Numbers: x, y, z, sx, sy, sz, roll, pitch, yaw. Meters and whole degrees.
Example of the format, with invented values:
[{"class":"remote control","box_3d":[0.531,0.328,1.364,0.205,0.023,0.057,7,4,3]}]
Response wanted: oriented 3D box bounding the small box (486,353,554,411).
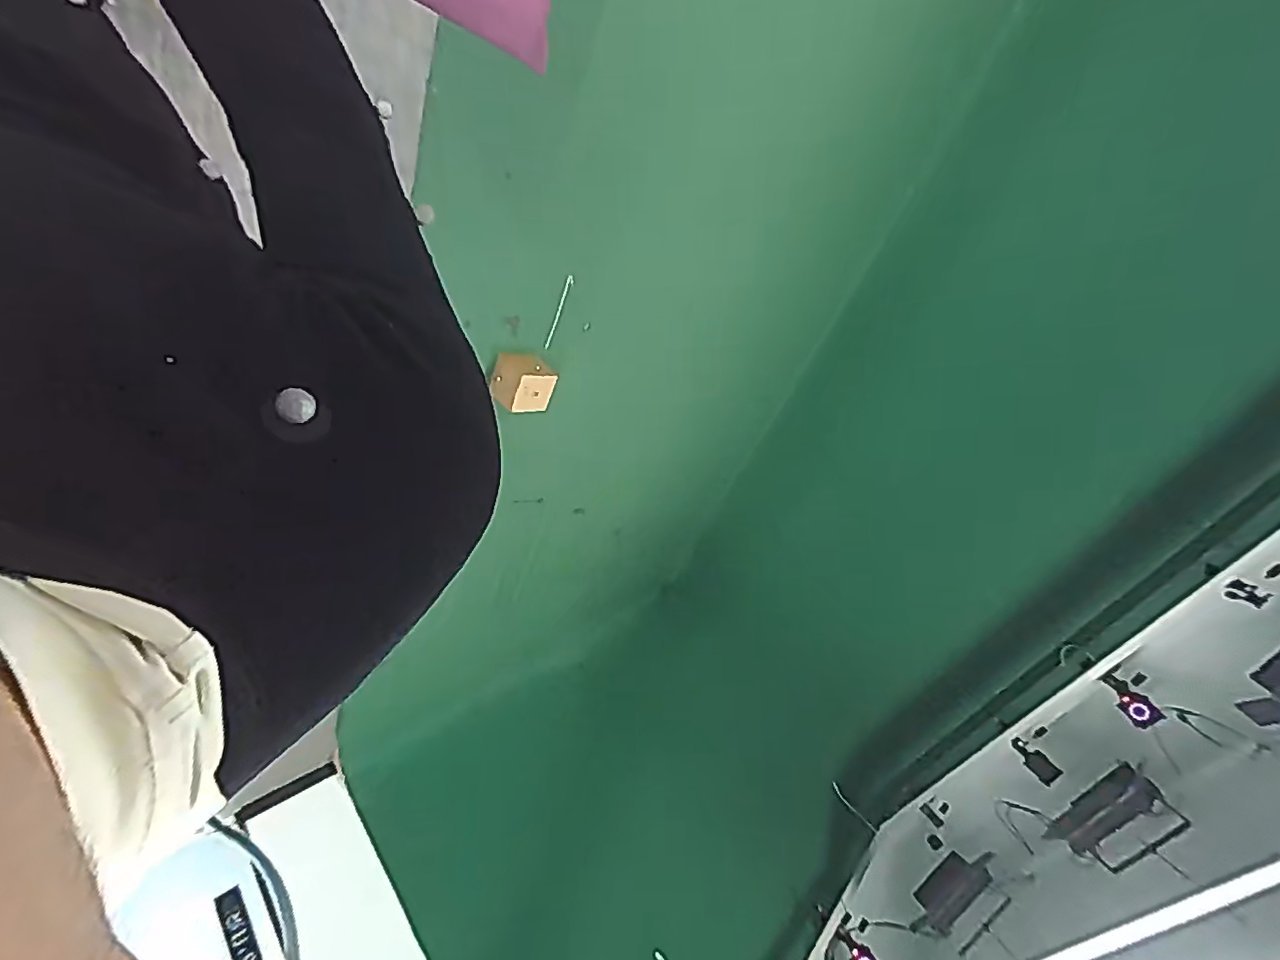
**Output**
[{"class":"small box","box_3d":[-0.478,-0.390,2.138,0.179,0.176,0.168,-12,137,-49]}]
